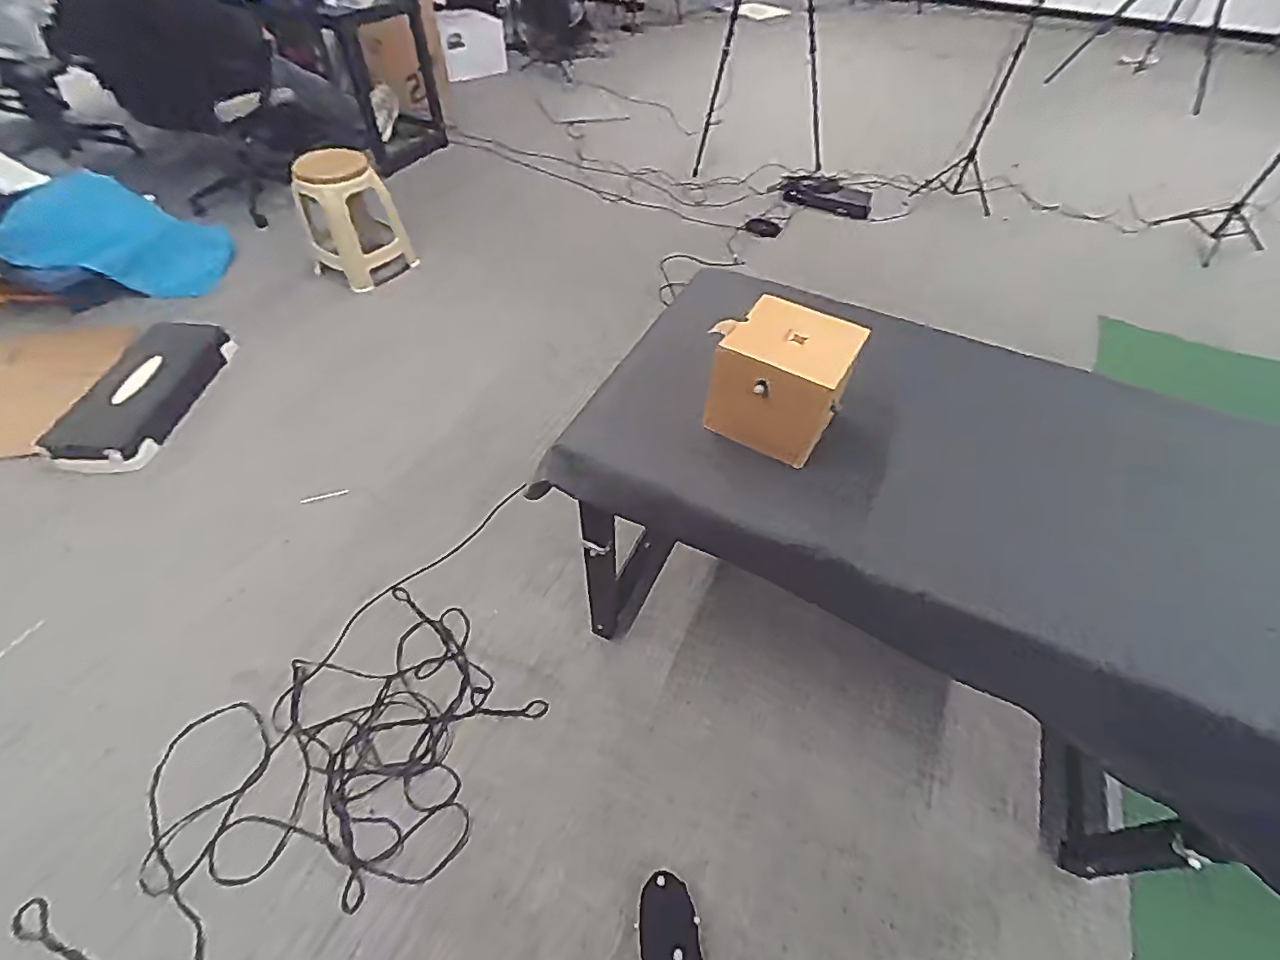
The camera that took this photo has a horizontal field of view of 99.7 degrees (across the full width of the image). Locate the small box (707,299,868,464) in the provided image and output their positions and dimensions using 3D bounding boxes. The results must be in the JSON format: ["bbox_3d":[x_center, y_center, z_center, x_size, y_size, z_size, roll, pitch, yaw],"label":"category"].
[{"bbox_3d":[0.225,-0.150,0.854,0.179,0.176,0.168,27,54,19],"label":"small box"}]
